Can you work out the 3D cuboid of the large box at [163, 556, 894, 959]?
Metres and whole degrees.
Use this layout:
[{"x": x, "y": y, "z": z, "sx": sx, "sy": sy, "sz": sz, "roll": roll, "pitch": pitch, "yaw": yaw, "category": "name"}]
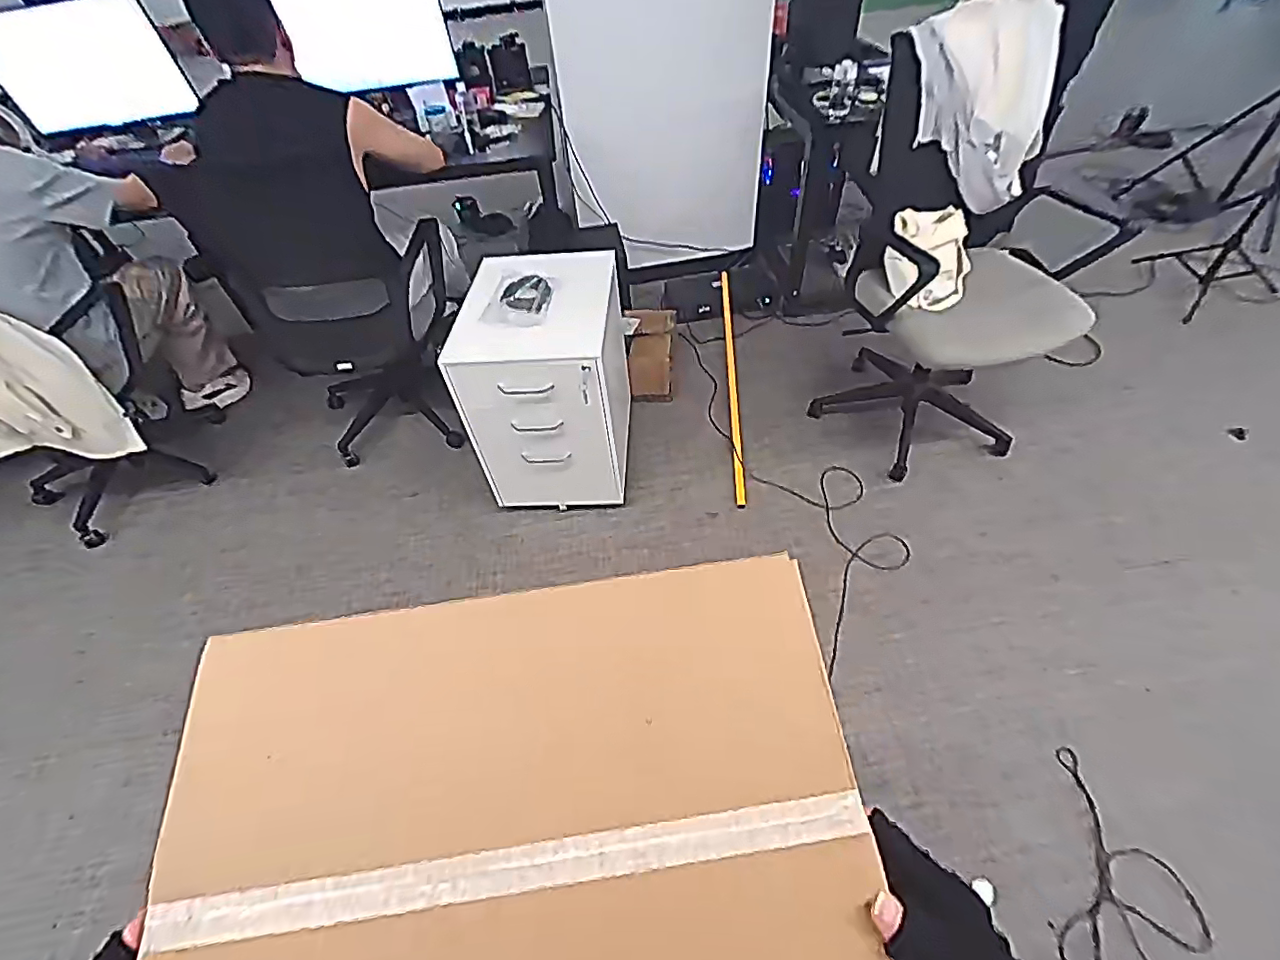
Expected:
[{"x": -0.064, "y": 0.285, "z": 0.451, "sx": 0.408, "sy": 0.320, "sz": 0.320, "roll": -9, "pitch": 63, "yaw": -2, "category": "large box"}]
